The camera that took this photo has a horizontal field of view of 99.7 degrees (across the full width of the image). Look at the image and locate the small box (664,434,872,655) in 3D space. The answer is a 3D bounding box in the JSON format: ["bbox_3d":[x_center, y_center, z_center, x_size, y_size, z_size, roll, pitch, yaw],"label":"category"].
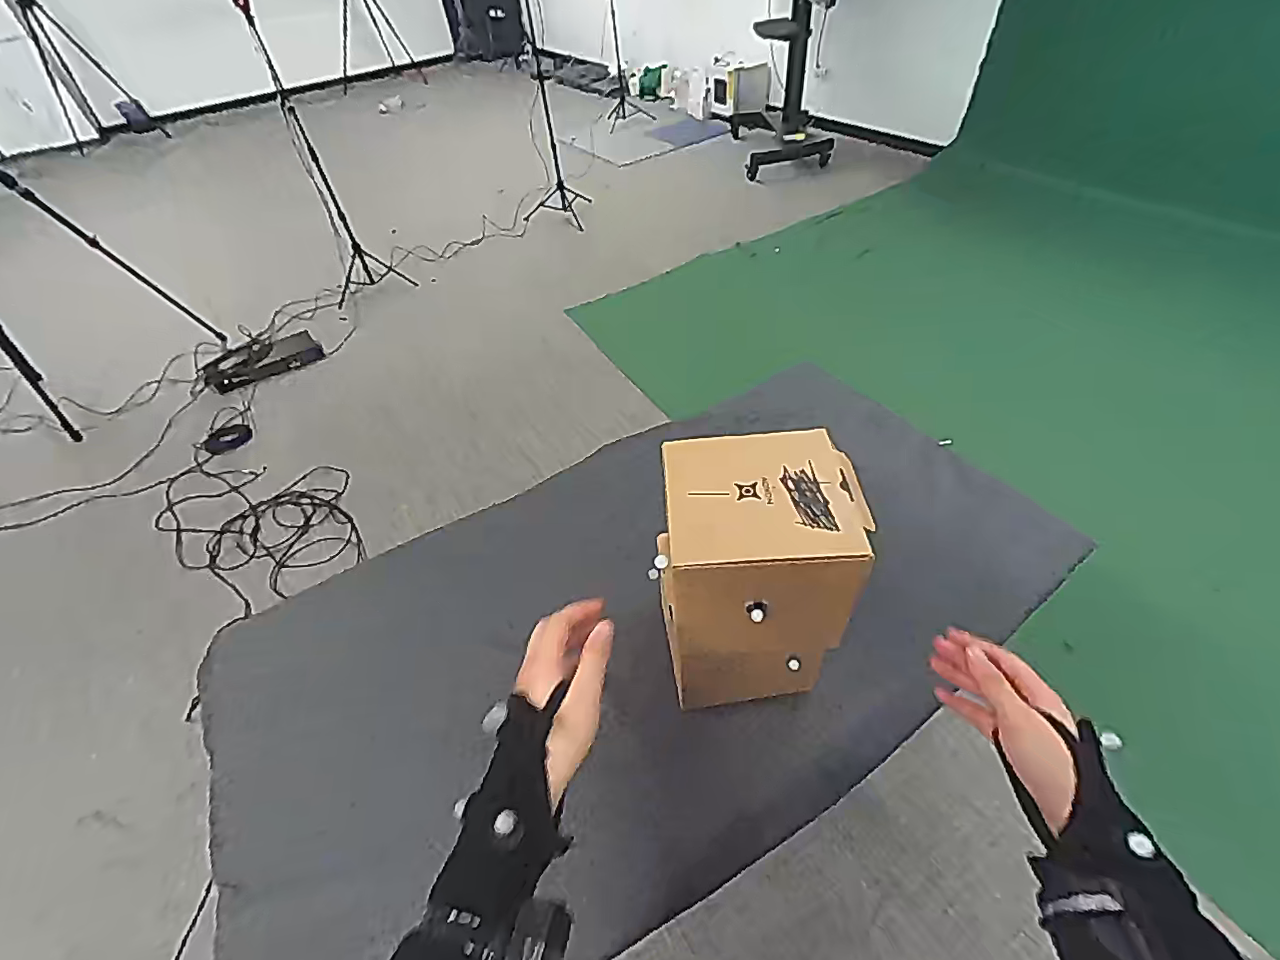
[{"bbox_3d":[0.117,0.071,0.571,0.179,0.176,0.168,-4,46,3],"label":"small box"}]
